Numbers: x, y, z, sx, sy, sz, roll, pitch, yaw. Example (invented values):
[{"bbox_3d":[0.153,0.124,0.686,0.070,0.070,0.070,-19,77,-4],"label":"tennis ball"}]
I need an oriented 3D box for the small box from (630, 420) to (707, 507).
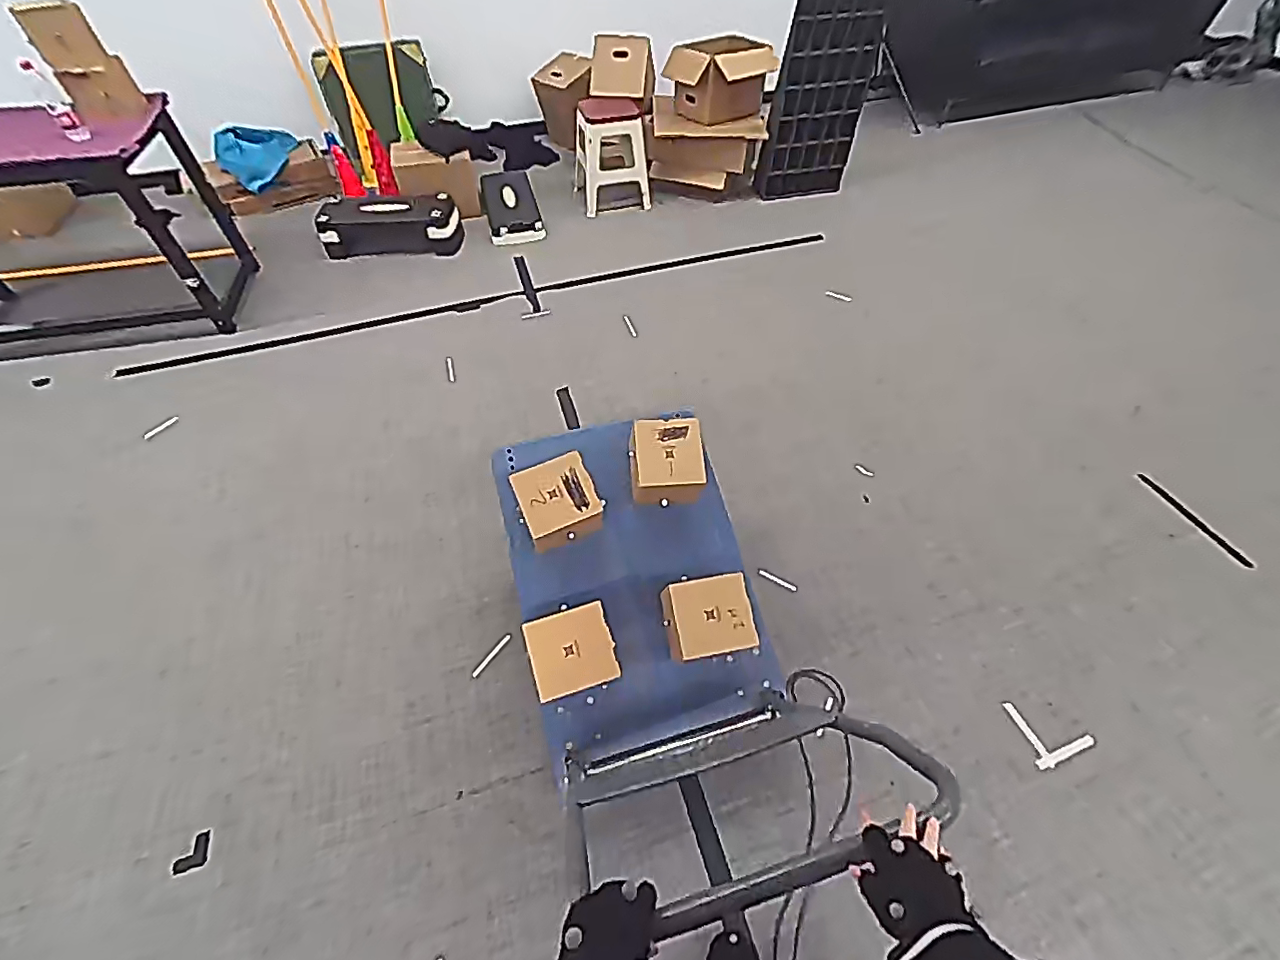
[{"bbox_3d":[0.066,-0.040,1.385,0.168,0.176,0.179,-3,72,-6],"label":"small box"}]

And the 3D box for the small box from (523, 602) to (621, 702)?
[{"bbox_3d":[-0.150,0.388,1.211,0.179,0.176,0.168,-16,72,-12],"label":"small box"}]

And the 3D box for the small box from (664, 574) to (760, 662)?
[{"bbox_3d":[0.157,0.326,1.263,0.179,0.176,0.168,-8,72,-8],"label":"small box"}]
